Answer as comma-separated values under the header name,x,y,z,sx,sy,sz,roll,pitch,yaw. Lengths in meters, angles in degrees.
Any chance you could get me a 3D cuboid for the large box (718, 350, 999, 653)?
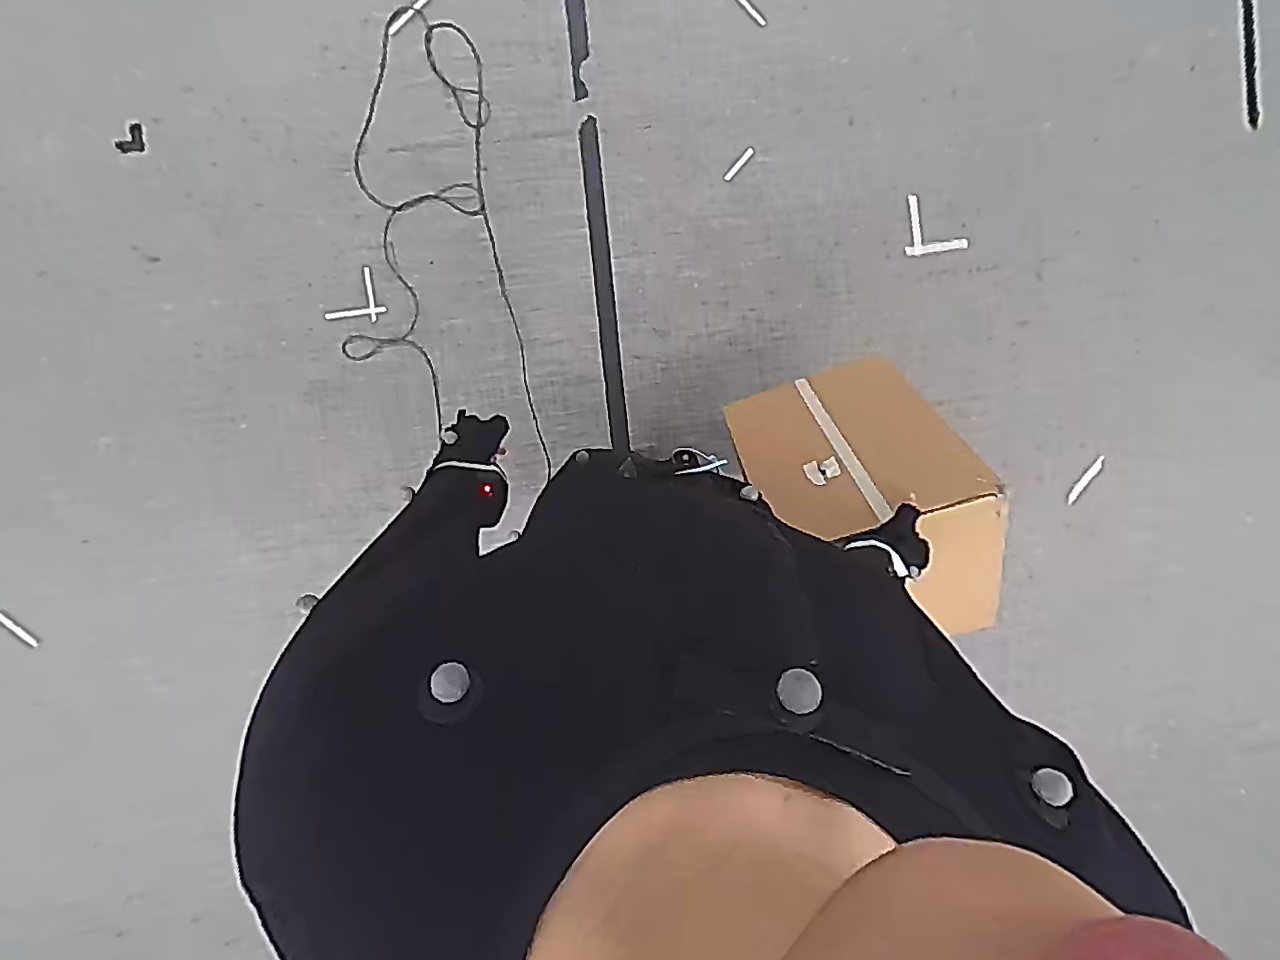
name,x,y,z,sx,sy,sz,roll,pitch,yaw
large box,0.365,0.031,0.986,0.320,0.408,0.320,-20,130,9
